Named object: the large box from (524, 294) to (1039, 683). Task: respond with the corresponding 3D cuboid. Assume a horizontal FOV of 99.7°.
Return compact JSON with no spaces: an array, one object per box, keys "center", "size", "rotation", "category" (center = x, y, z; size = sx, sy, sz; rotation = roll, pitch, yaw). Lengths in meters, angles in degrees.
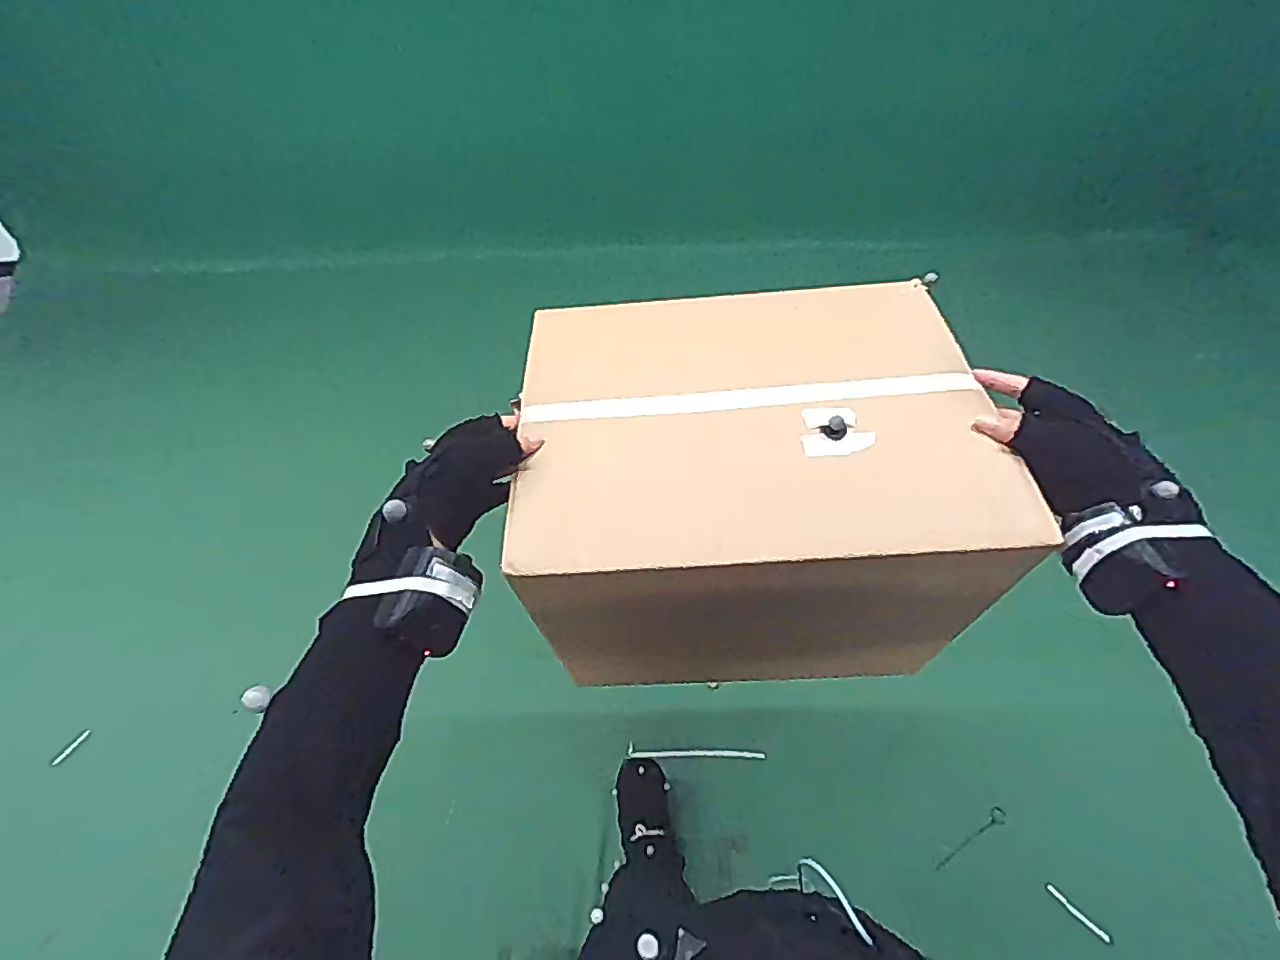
[{"center":[0.108,0.023,0.618],"size":[0.408,0.320,0.320],"rotation":[-4,55,2],"category":"large box"}]
